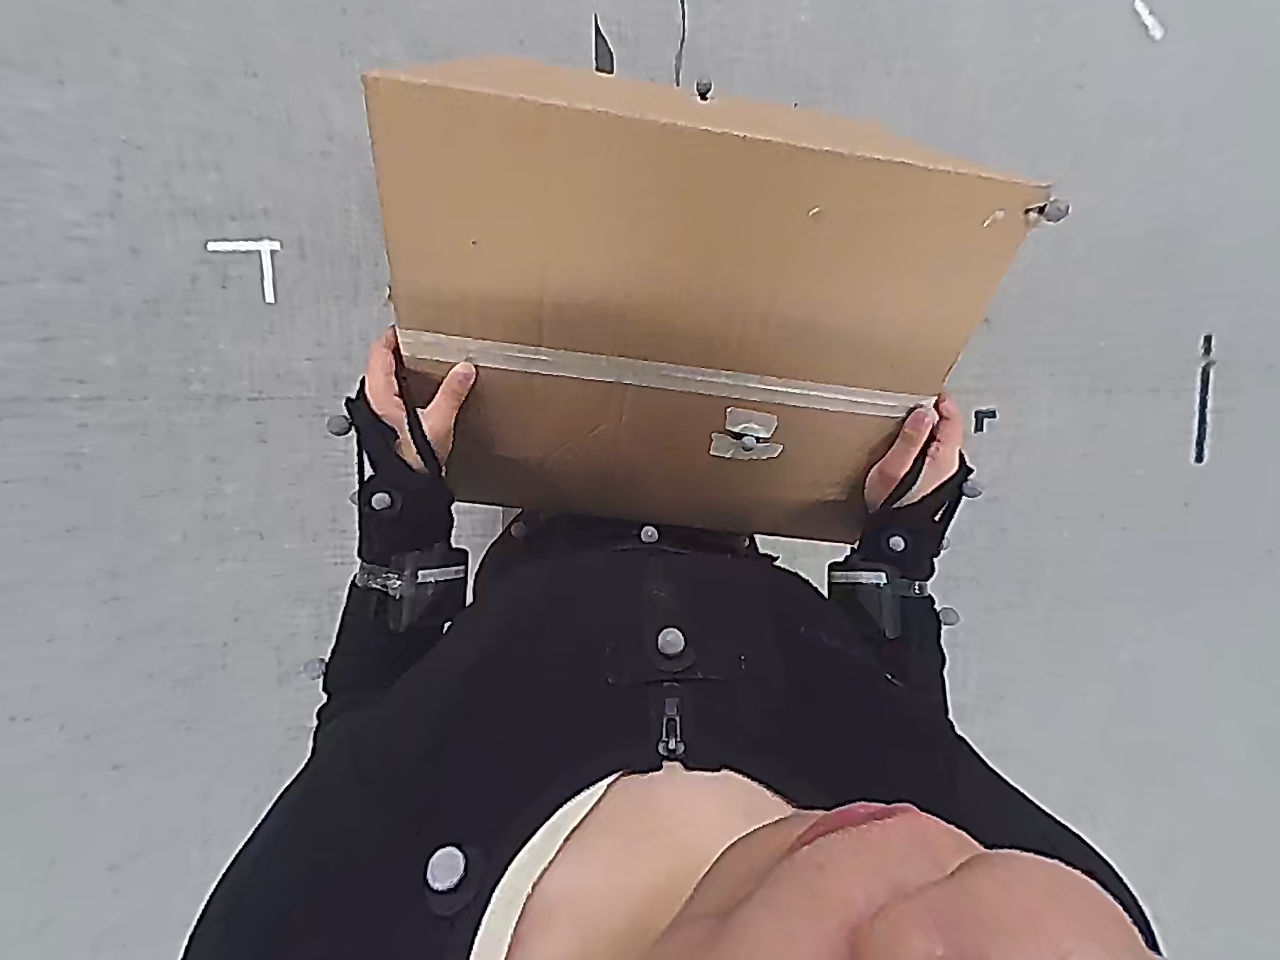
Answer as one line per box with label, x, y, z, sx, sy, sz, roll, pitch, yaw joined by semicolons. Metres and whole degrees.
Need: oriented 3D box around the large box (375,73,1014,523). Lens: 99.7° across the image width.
large box;0.021;-0.183;0.535;0.408;0.320;0.320;5;130;-5
